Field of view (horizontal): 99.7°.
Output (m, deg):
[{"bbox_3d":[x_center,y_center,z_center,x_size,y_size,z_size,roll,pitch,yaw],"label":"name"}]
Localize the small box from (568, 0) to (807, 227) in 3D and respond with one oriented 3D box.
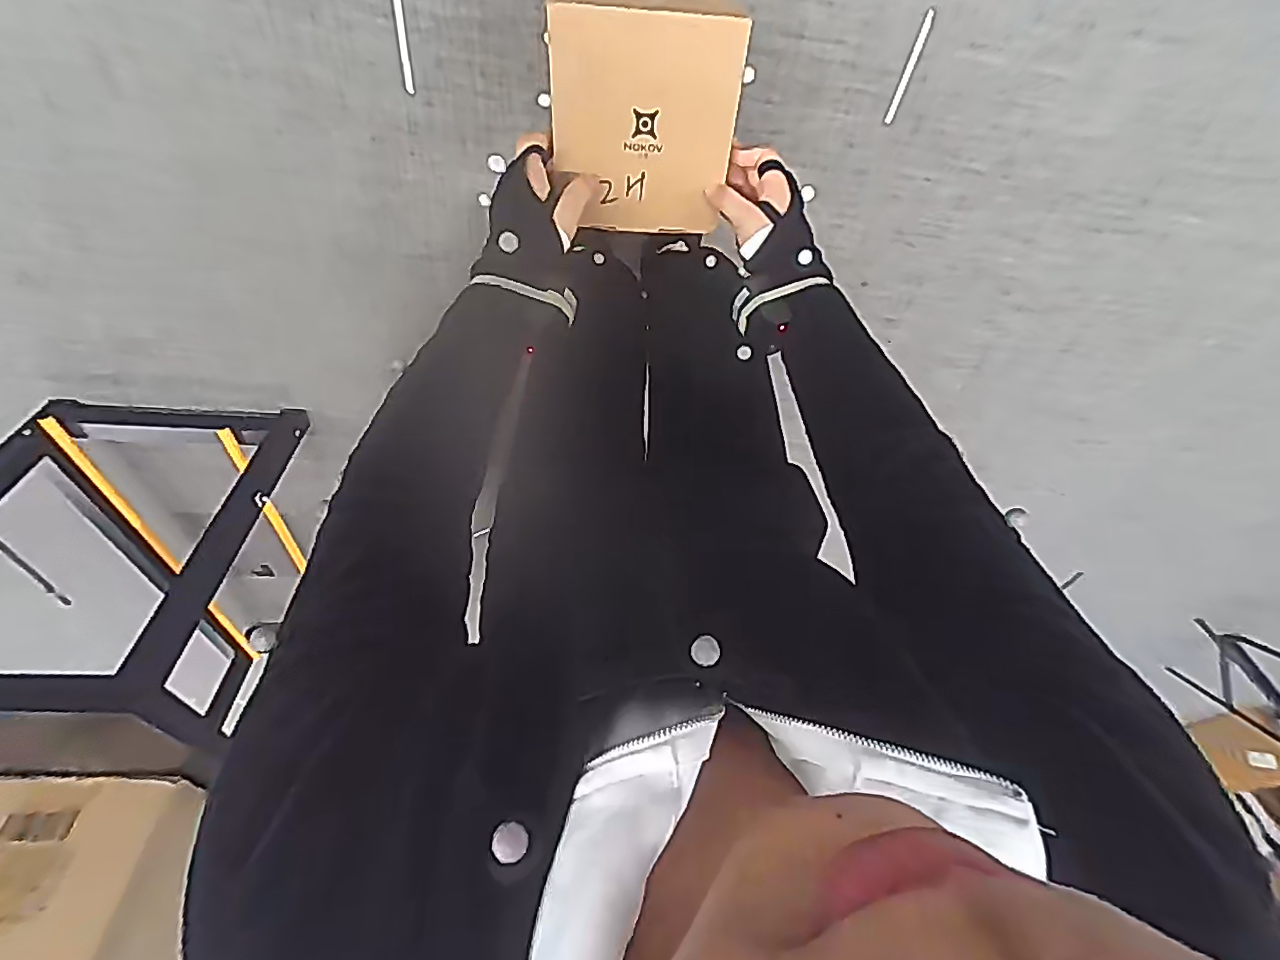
[{"bbox_3d":[0.024,-0.342,0.459,0.168,0.176,0.179,1,139,-4],"label":"small box"}]
